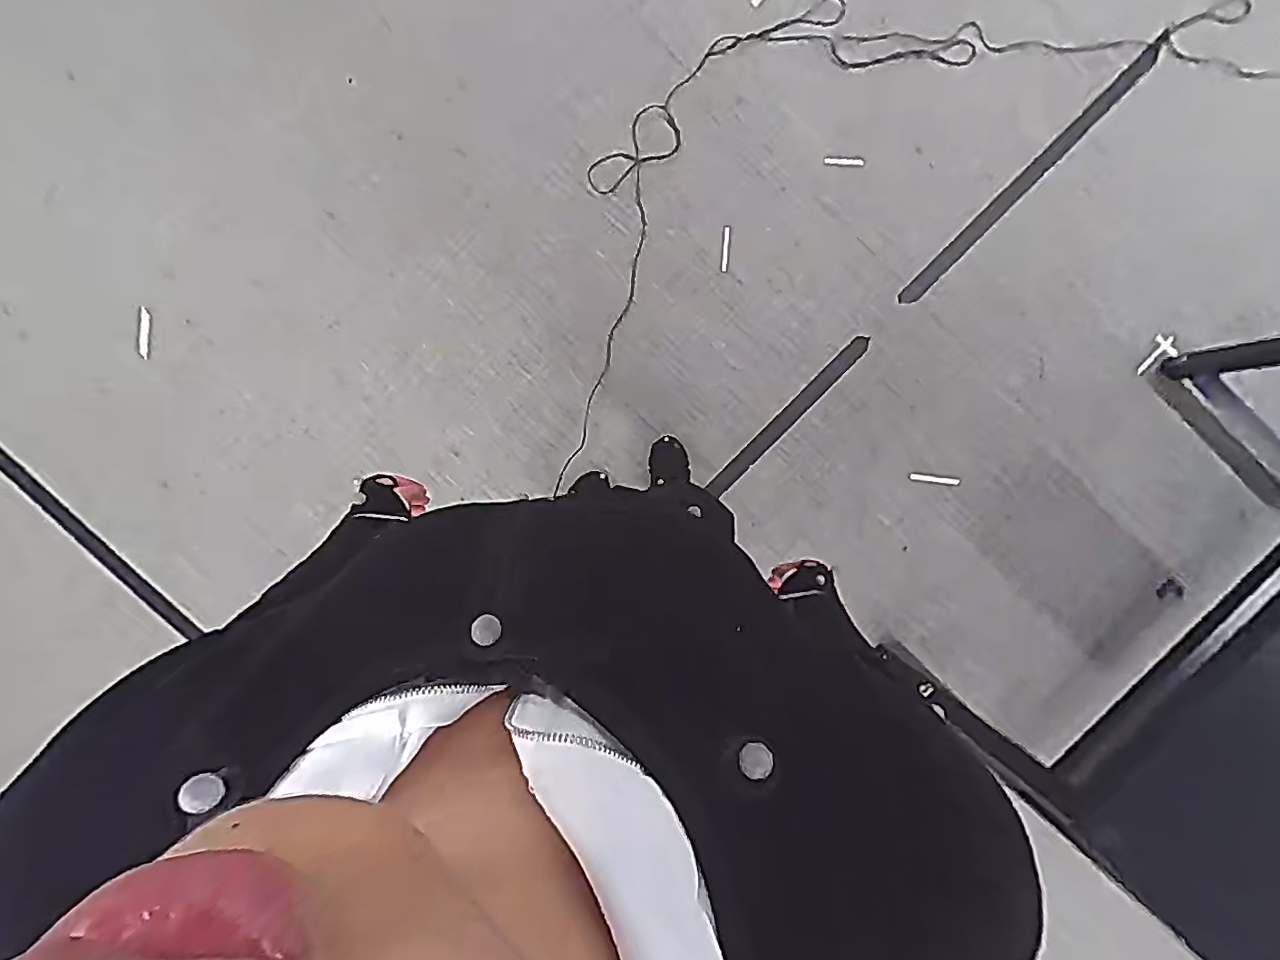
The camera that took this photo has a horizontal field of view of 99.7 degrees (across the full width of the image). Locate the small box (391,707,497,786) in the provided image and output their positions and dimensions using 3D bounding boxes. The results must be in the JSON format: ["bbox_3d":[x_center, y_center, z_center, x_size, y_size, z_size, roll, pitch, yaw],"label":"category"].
[{"bbox_3d":[-0.506,0.741,1.429,0.179,0.176,0.168,45,90,-3],"label":"small box"}]

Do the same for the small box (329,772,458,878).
[{"bbox_3d":[-0.496,0.746,1.103,0.168,0.176,0.179,44,91,-2],"label":"small box"}]

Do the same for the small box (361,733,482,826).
[{"bbox_3d":[-0.499,0.741,1.265,0.168,0.176,0.179,45,89,-3],"label":"small box"}]
